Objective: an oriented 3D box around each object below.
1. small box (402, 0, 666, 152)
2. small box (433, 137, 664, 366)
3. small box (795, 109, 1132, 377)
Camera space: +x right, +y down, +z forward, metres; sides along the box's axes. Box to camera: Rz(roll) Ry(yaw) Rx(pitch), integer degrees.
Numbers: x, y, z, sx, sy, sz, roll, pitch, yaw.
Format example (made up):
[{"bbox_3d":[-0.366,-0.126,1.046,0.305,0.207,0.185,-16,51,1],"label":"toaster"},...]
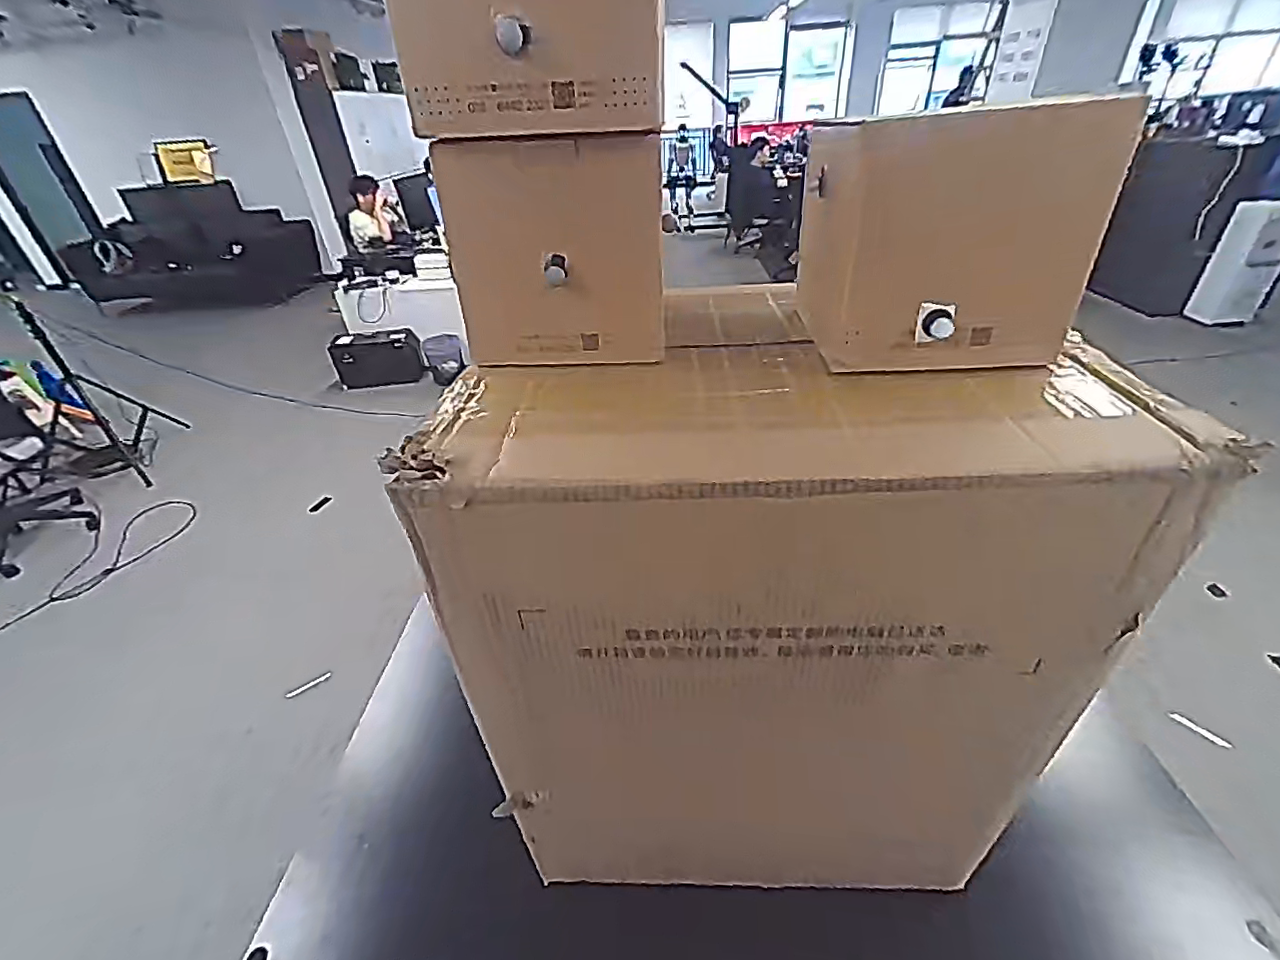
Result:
[{"bbox_3d":[-0.066,-0.340,0.391,0.168,0.176,0.179,0,34,4],"label":"small box"},{"bbox_3d":[-0.062,-0.212,0.497,0.168,0.176,0.179,-1,34,2],"label":"small box"},{"bbox_3d":[0.228,-0.195,0.446,0.168,0.176,0.179,-2,34,6],"label":"small box"}]
